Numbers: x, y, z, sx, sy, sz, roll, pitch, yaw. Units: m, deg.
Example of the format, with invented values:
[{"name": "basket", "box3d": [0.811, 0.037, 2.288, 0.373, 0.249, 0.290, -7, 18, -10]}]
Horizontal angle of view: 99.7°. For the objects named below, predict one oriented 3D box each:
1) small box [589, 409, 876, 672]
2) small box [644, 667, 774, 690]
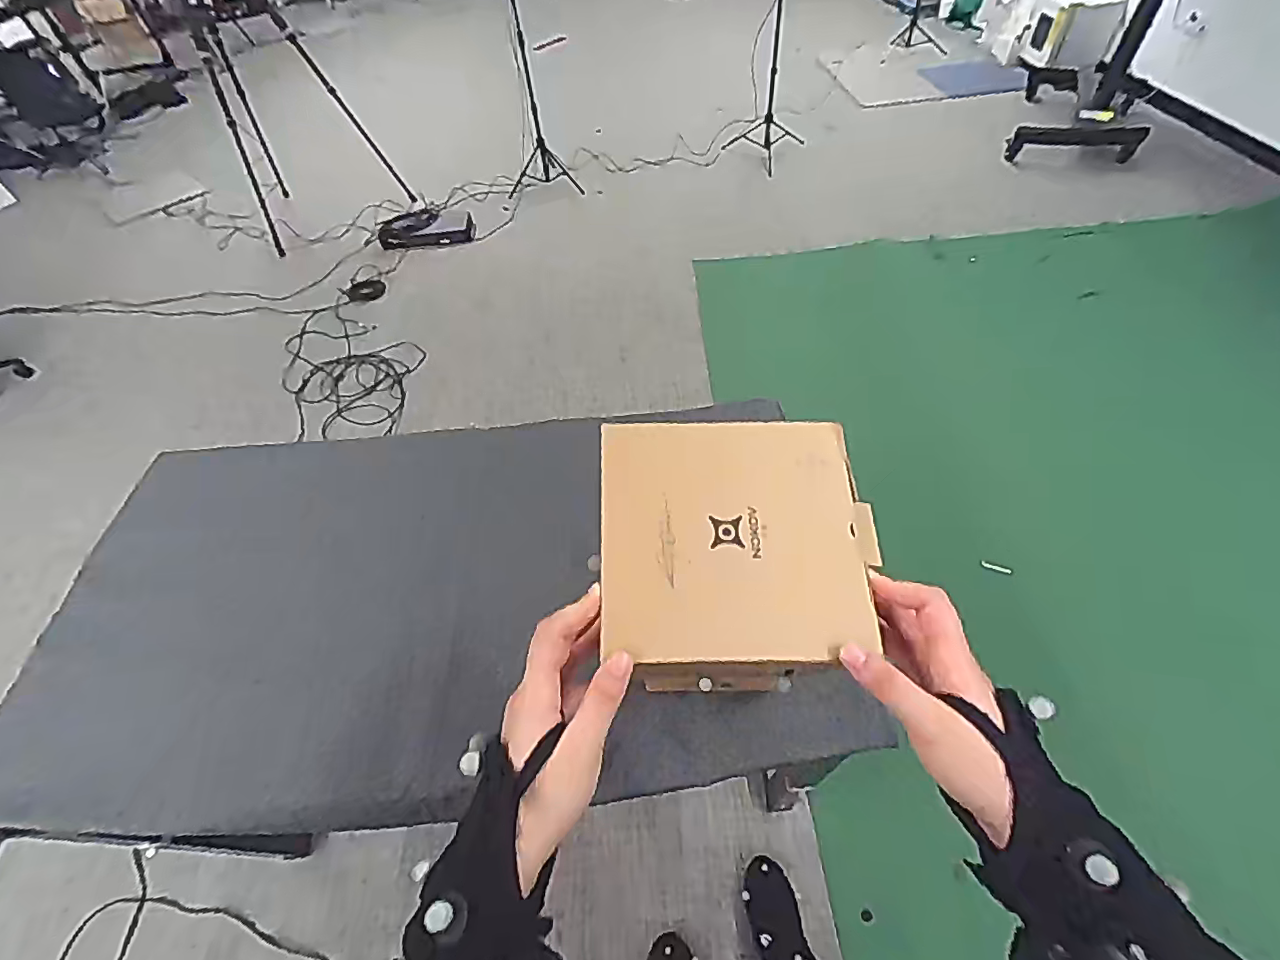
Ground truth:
[{"name": "small box", "box3d": [0.054, 0.058, 0.426, 0.179, 0.176, 0.168, -2, 66, 0]}, {"name": "small box", "box3d": [0.081, 0.151, 0.691, 0.168, 0.176, 0.179, -2, 50, 5]}]
